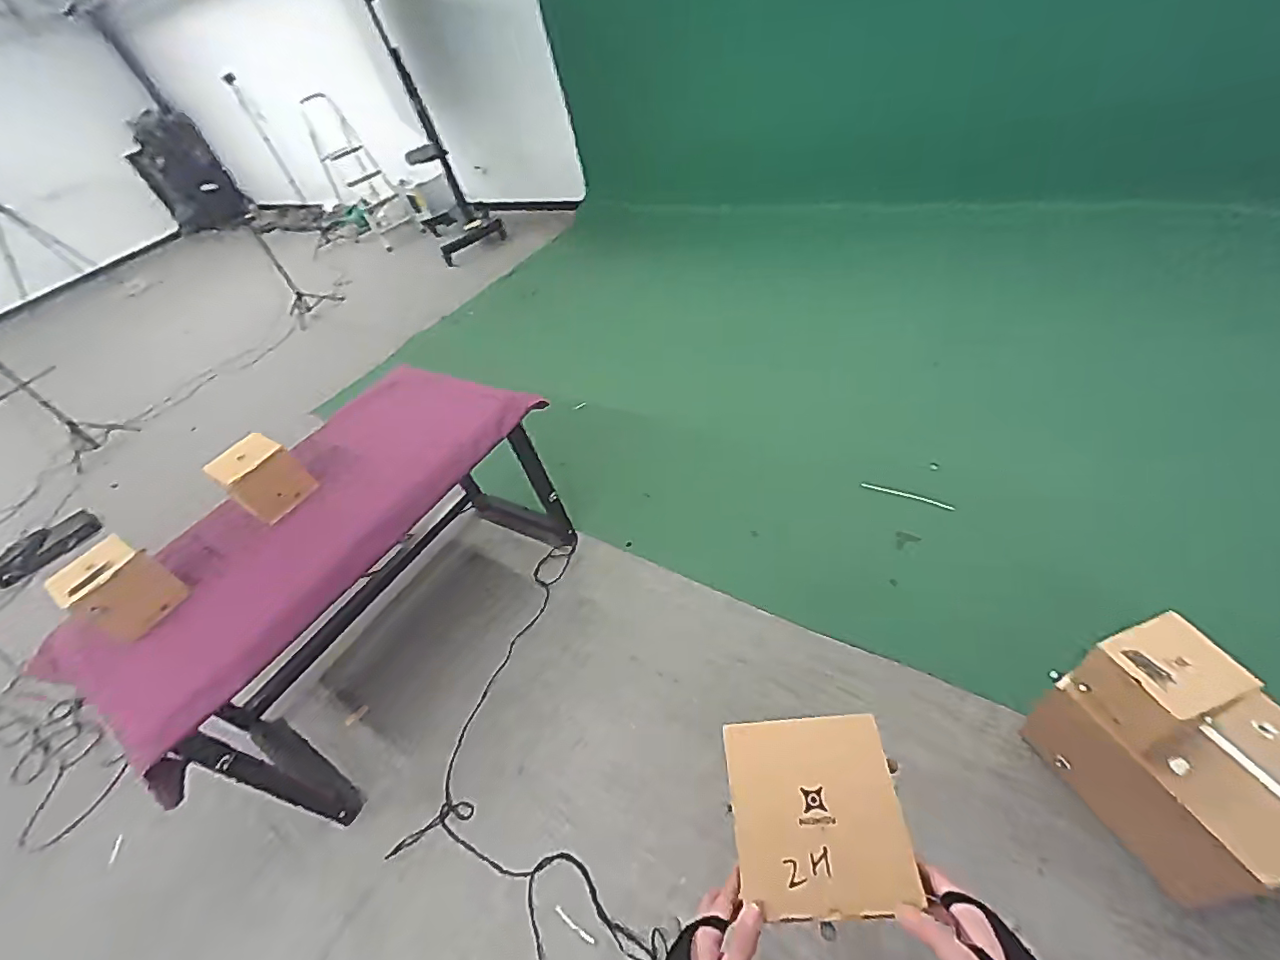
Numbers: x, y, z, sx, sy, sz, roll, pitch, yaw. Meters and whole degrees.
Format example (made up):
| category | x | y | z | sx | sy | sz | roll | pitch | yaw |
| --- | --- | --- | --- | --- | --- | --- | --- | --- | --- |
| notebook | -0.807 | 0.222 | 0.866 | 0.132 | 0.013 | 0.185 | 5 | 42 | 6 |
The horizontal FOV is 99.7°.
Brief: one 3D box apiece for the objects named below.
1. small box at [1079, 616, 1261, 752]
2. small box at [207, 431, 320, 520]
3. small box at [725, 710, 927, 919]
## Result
| category | x | y | z | sx | sy | sz | roll | pitch | yaw |
| --- | --- | --- | --- | --- | --- | --- | --- | --- | --- |
| small box | 1.020 | 0.405 | 1.066 | 0.179 | 0.176 | 0.168 | -21 | 45 | -4 |
| small box | -1.062 | -0.011 | 1.534 | 0.179 | 0.176 | 0.168 | 18 | 53 | 30 |
| small box | 0.188 | 0.376 | 0.604 | 0.168 | 0.176 | 0.179 | -7 | 51 | 7 |
